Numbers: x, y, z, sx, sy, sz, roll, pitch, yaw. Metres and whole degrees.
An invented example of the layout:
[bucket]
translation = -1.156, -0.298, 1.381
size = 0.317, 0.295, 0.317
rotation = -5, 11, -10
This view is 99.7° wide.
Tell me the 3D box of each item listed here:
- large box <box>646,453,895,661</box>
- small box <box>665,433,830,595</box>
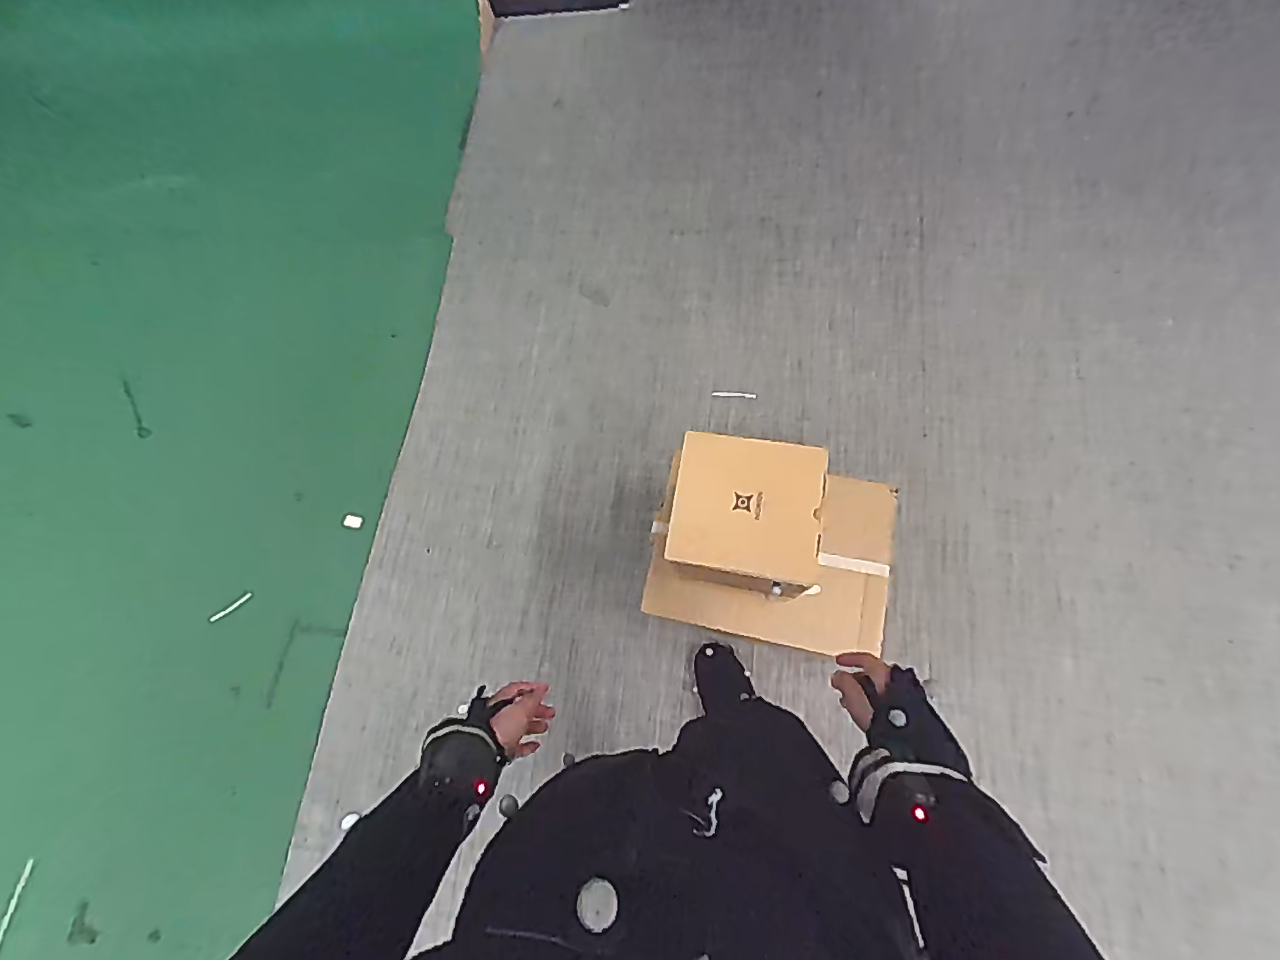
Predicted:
[large box]
translation = 0.246, 0.165, 1.094
size = 0.408, 0.320, 0.320
rotation = 10, 75, 10
[small box]
translation = 0.137, 0.053, 0.714
size = 0.179, 0.176, 0.168
rotation = 8, 74, 9
